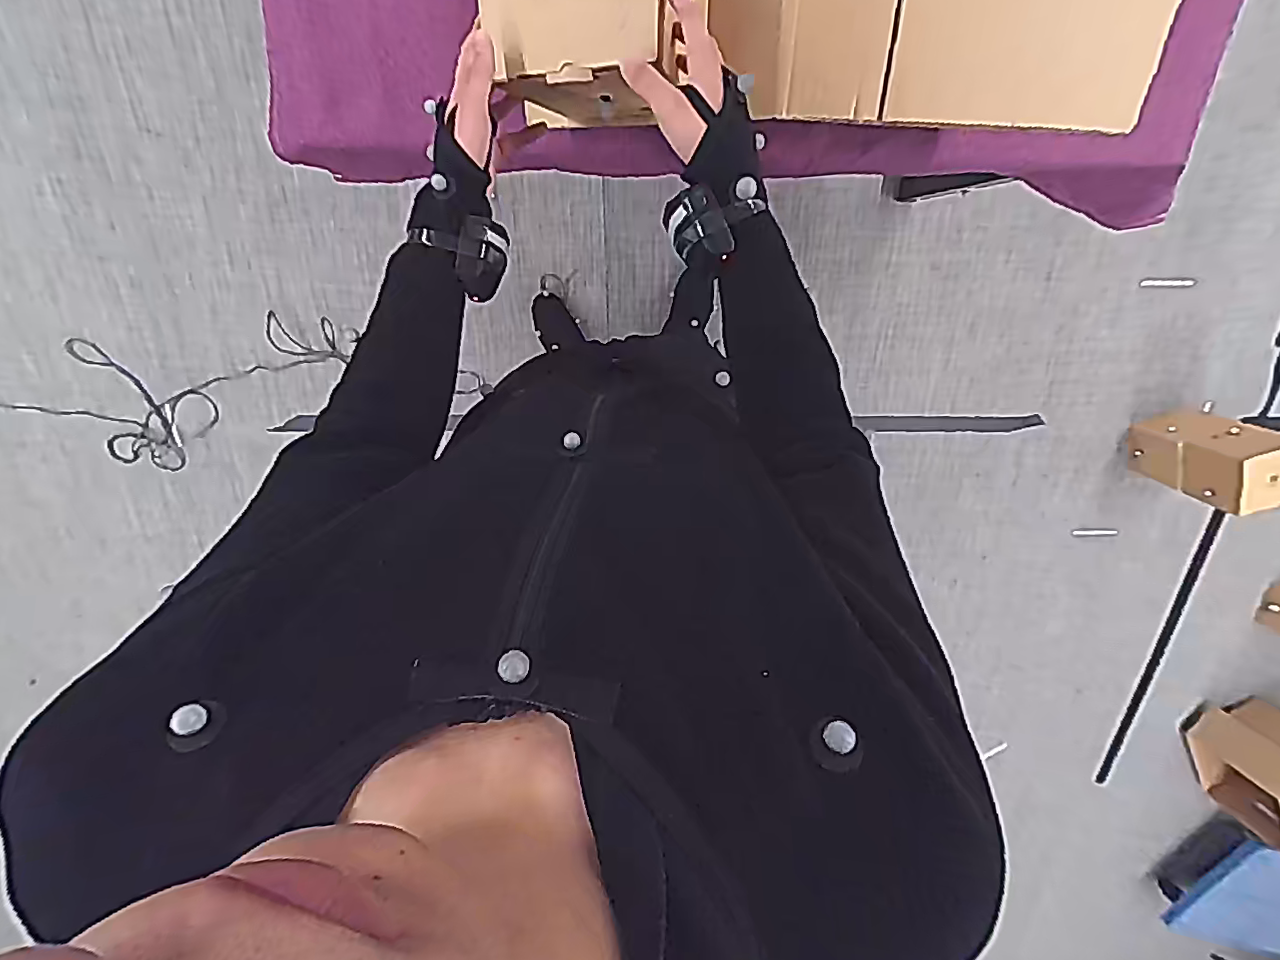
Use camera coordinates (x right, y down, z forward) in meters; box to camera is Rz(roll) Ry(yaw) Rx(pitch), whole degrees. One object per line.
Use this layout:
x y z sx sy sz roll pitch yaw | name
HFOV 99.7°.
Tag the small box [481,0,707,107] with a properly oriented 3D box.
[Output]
-0.033 -0.464 0.503 0.168 0.176 0.179 9 116 17 | small box
